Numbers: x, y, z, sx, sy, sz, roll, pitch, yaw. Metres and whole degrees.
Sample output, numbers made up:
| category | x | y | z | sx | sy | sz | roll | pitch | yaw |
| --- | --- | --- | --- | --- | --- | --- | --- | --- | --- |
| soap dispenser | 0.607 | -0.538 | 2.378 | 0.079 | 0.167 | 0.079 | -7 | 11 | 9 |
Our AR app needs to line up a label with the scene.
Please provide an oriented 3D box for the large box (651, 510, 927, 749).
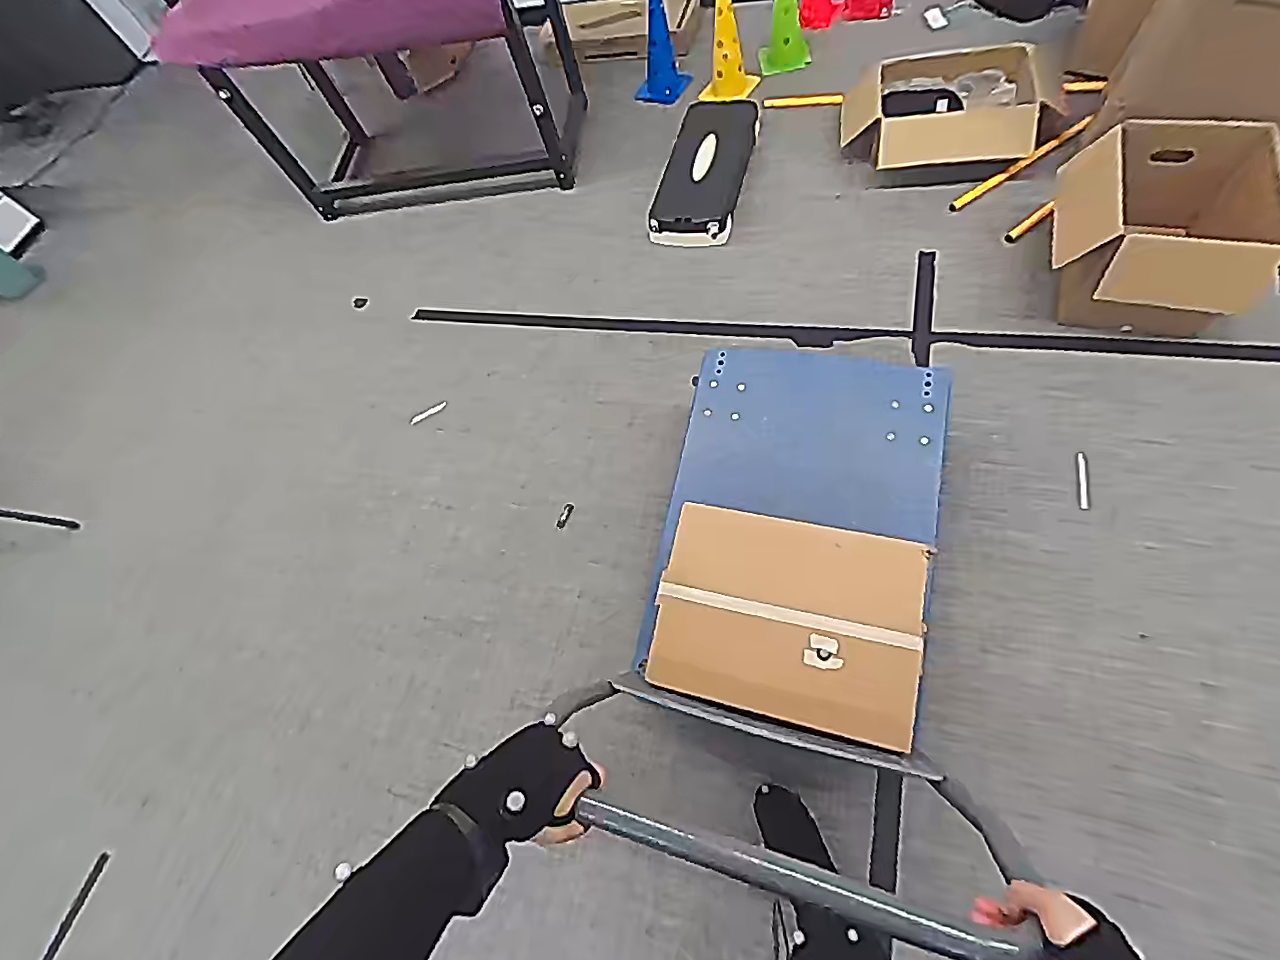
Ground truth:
| category | x | y | z | sx | sy | sz | roll | pitch | yaw |
| --- | --- | --- | --- | --- | --- | --- | --- | --- | --- |
| large box | 0.266 | 0.270 | 1.012 | 0.408 | 0.320 | 0.320 | 9 | 75 | 15 |
